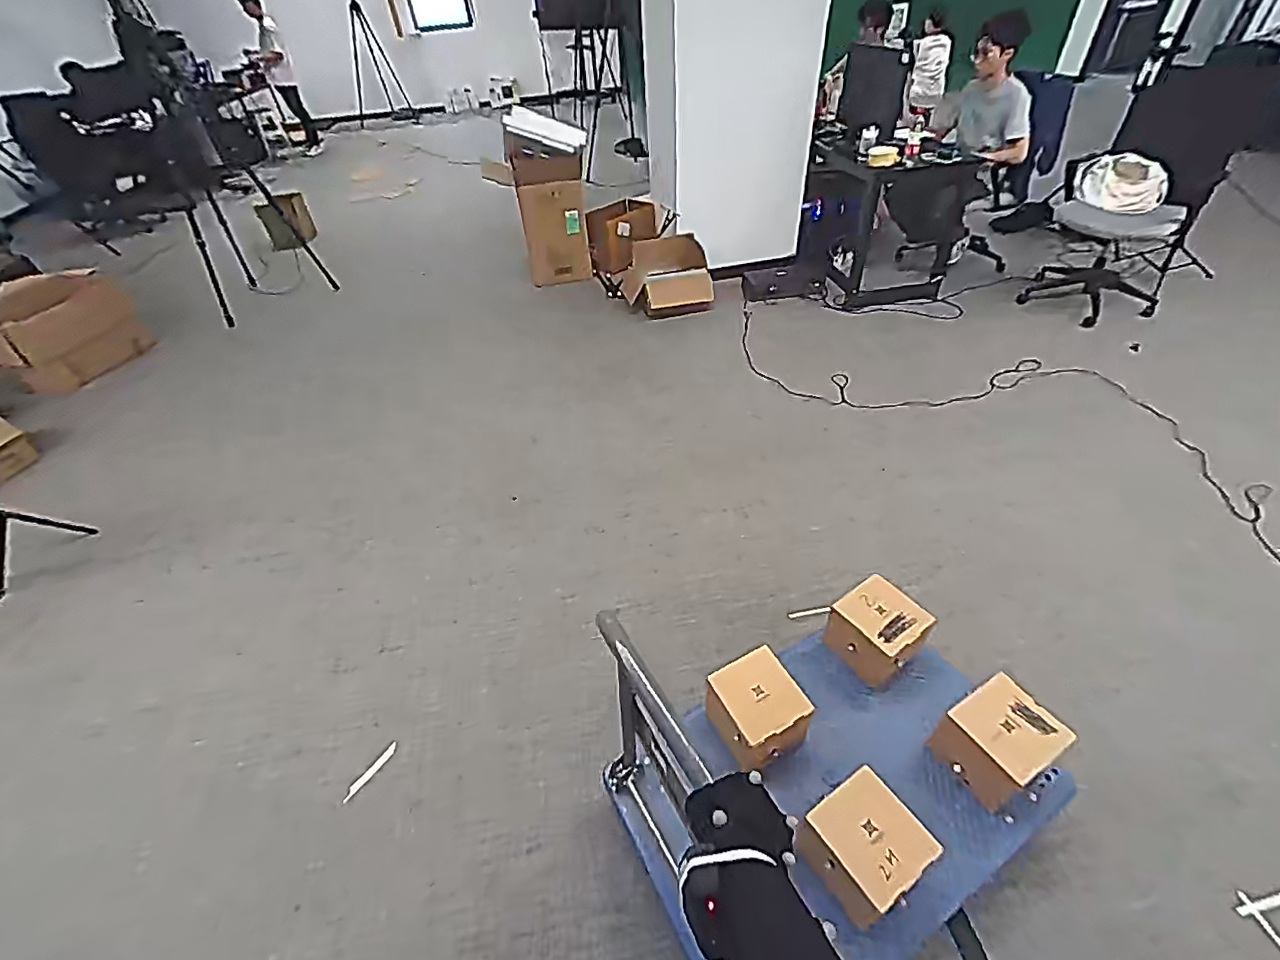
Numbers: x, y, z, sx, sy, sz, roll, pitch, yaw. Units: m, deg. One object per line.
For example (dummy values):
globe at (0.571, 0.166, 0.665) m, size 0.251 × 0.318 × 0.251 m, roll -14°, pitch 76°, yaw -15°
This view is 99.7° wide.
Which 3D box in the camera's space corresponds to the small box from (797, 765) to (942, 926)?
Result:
small box at (0.421, 0.693, 1.025) m, size 0.168 × 0.176 × 0.179 m, roll -25°, pitch 46°, yaw -20°

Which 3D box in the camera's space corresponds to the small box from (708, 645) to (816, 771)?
small box at (0.267, 0.518, 1.229) m, size 0.168 × 0.176 × 0.179 m, roll -21°, pitch 47°, yaw -17°

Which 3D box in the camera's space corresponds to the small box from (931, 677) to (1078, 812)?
small box at (0.753, 0.557, 1.140) m, size 0.179 × 0.176 × 0.168 m, roll -23°, pitch 46°, yaw -17°
